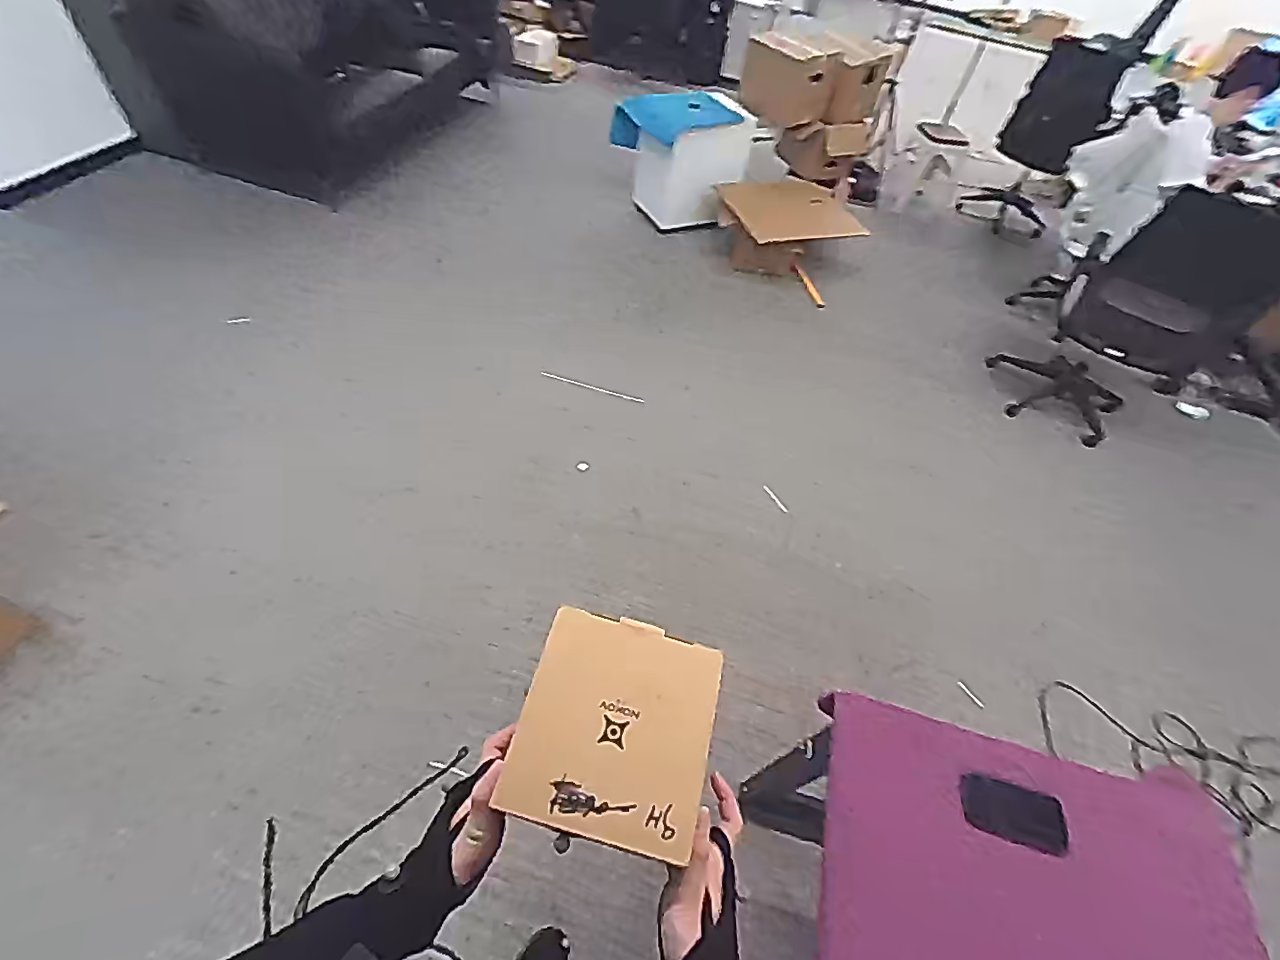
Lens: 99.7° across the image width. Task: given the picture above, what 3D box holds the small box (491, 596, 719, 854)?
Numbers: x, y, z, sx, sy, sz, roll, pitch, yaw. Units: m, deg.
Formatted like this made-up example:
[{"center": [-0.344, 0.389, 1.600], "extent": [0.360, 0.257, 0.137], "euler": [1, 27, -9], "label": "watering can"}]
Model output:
[{"center": [-0.031, 0.245, 0.536], "extent": [0.168, 0.176, 0.179], "euler": [15, 56, 3], "label": "small box"}]
